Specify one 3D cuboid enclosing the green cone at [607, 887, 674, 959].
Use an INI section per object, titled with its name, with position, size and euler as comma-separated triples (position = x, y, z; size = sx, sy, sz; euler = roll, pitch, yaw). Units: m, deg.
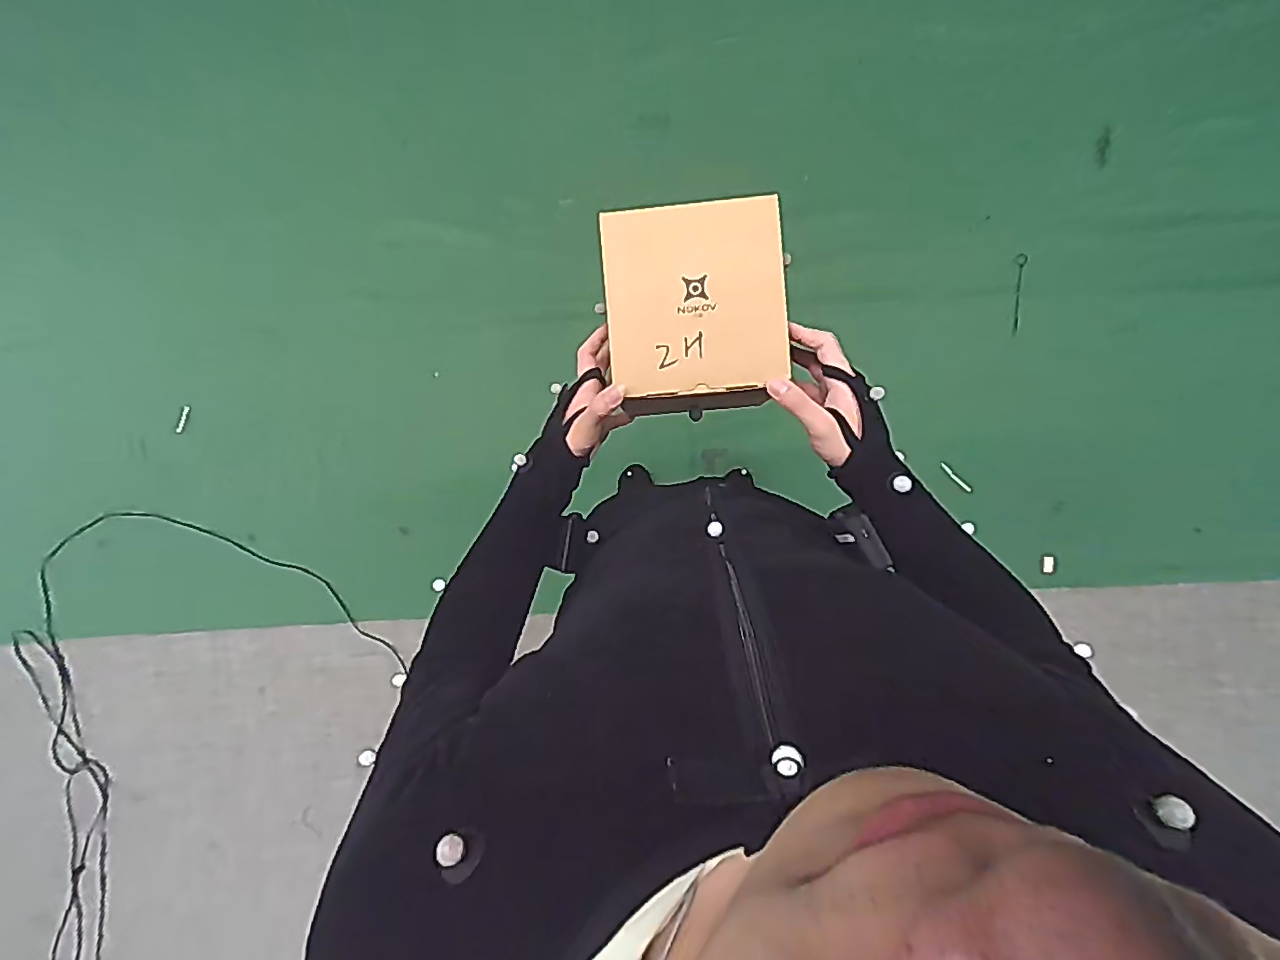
[green cone]
position = -0.009, 1.344, 1.478
size = 0.202, 0.368, 0.200
euler = -3, 91, 4
